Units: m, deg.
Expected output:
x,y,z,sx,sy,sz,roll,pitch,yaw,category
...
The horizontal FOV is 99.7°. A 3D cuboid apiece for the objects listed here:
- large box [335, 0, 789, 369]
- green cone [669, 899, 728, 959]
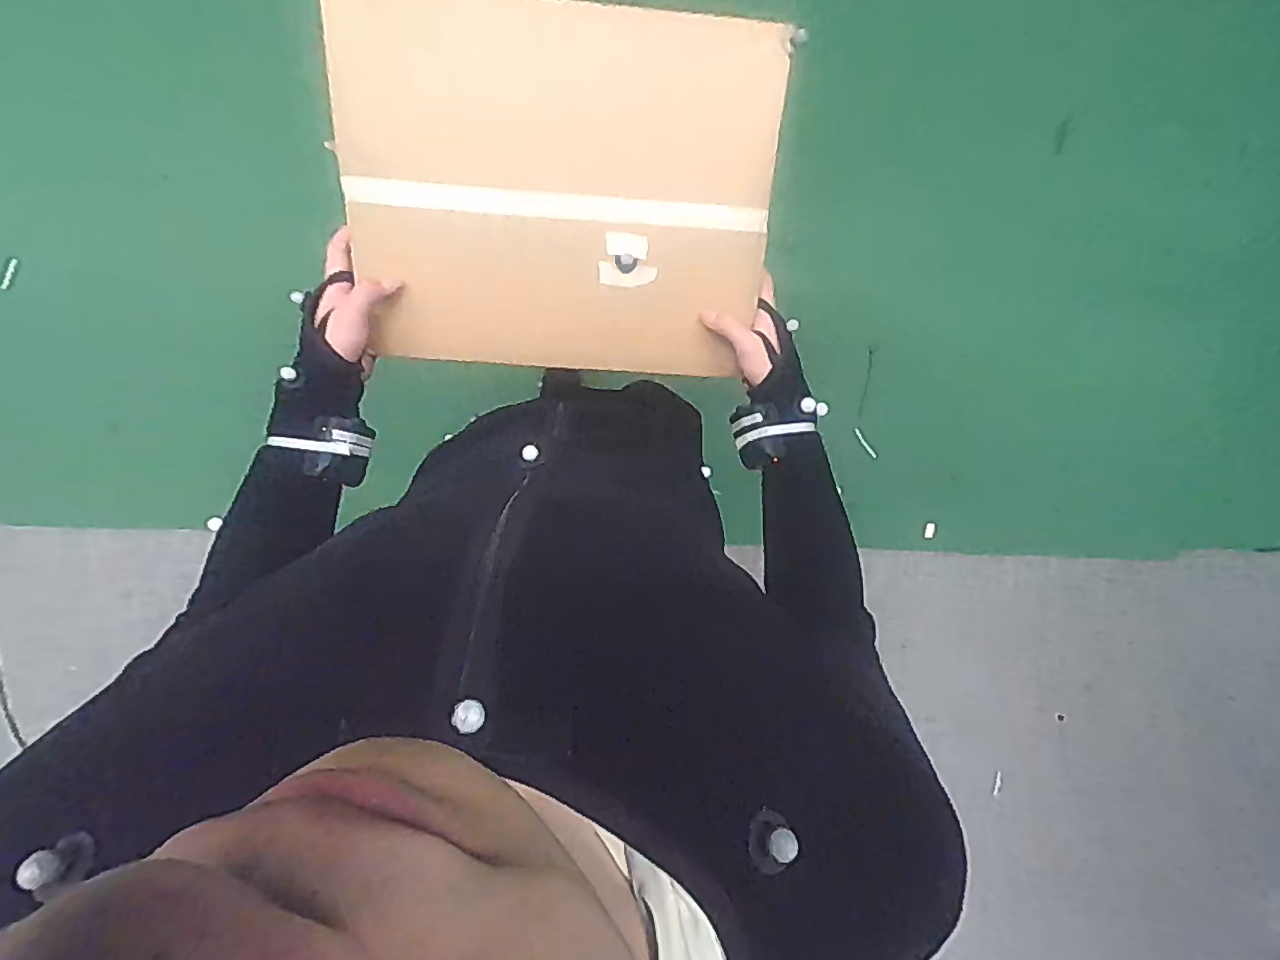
x,y,z,sx,sy,sz,roll,pitch,yaw,category
-0.080,-0.325,0.665,0.408,0.320,0.320,2,113,-4,large box
0.234,1.672,1.834,0.200,0.368,0.202,8,99,-7,green cone
